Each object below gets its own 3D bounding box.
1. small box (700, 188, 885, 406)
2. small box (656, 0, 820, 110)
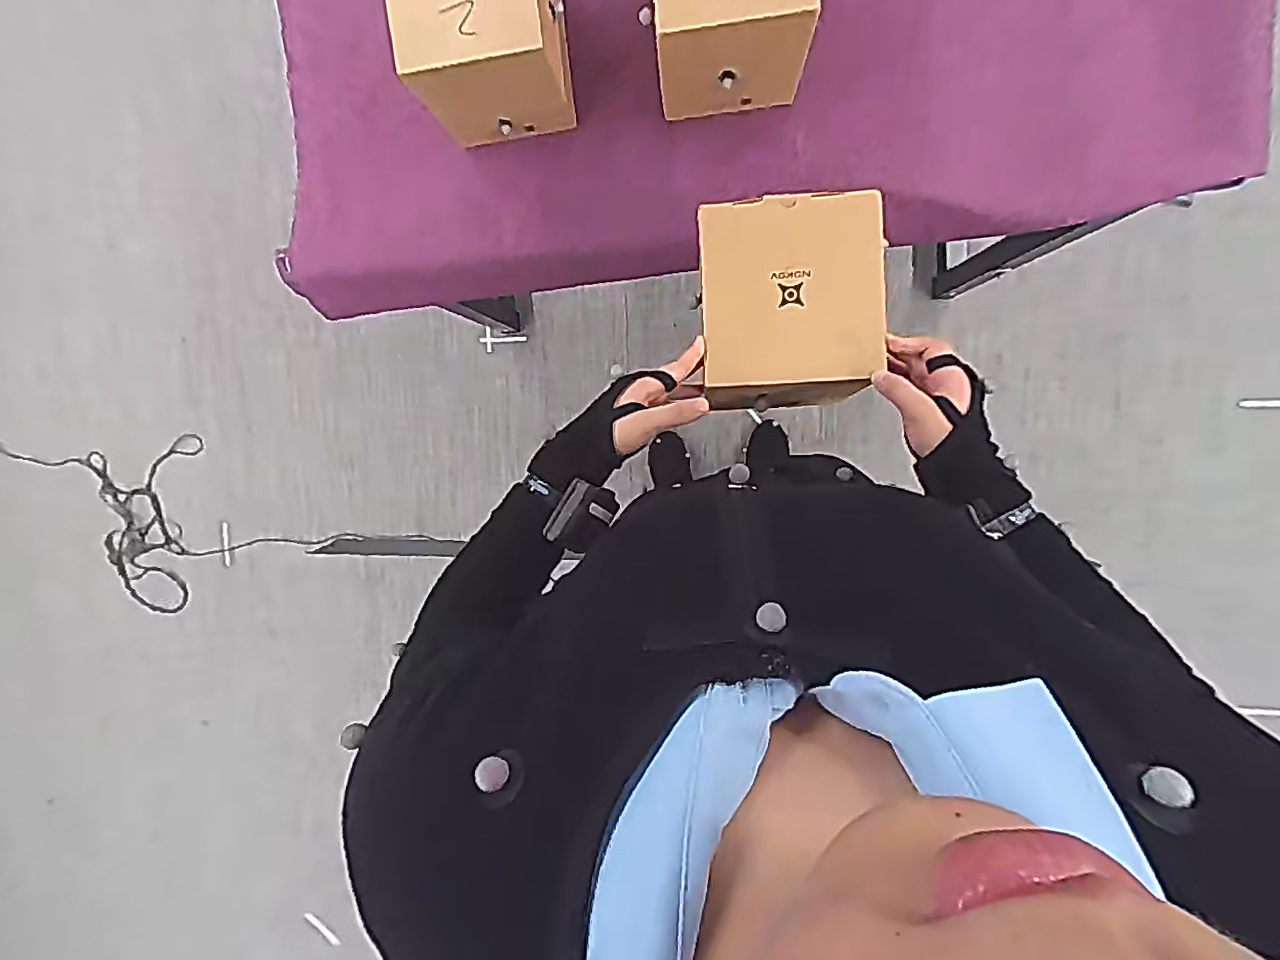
[{"bbox_3d":[0.151,-0.177,0.581,0.168,0.176,0.179,-2,88,7],"label":"small box"},{"bbox_3d":[0.103,-0.557,0.617,0.168,0.176,0.179,-3,96,5],"label":"small box"}]
